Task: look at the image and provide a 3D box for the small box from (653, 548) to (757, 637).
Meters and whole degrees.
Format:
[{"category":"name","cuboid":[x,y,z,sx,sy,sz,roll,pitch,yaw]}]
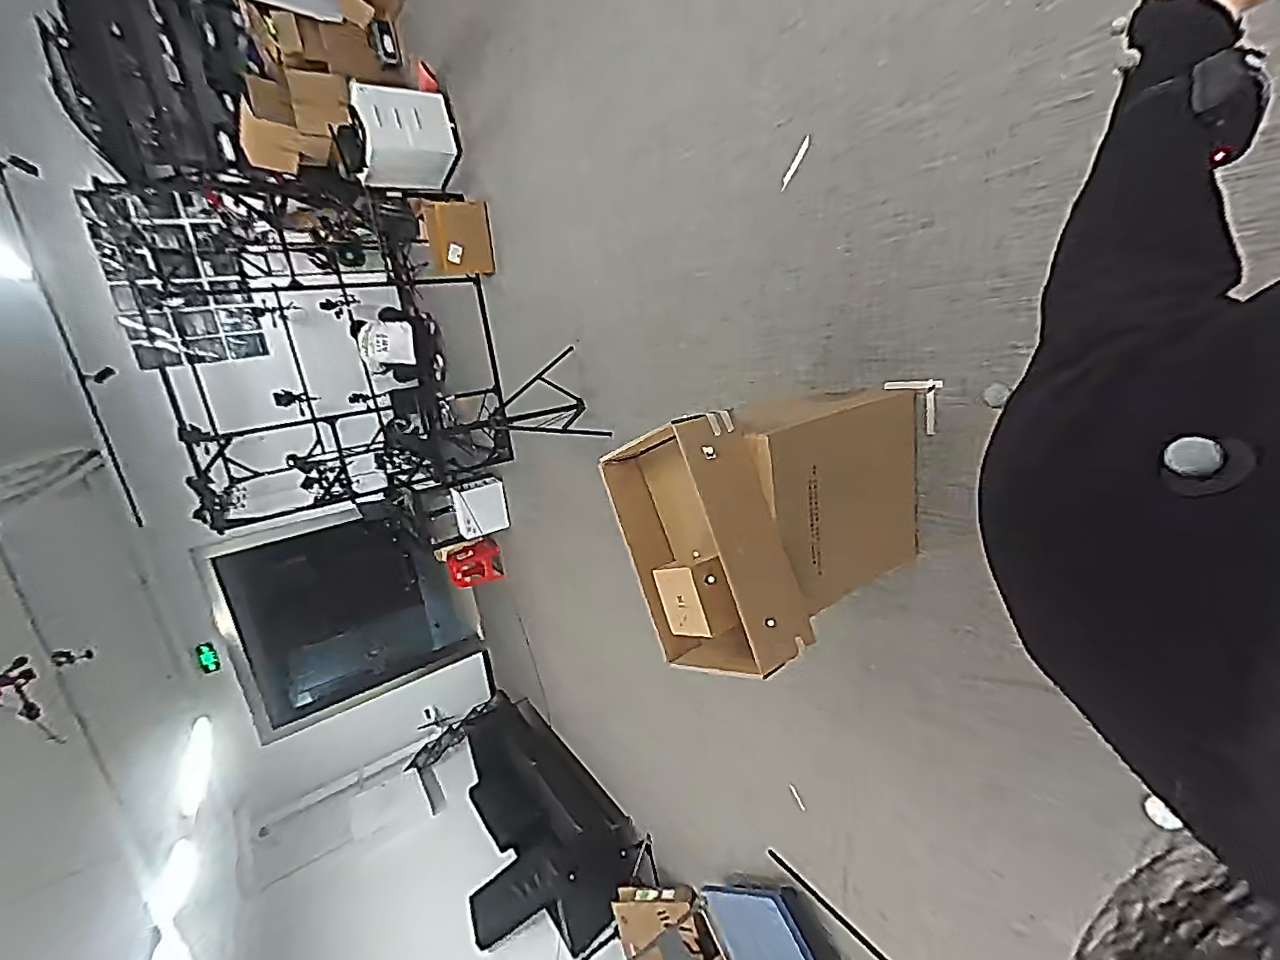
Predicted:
[{"category":"small box","cuboid":[0.166,0.277,1.366,0.168,0.176,0.179,-20,88,57]}]
